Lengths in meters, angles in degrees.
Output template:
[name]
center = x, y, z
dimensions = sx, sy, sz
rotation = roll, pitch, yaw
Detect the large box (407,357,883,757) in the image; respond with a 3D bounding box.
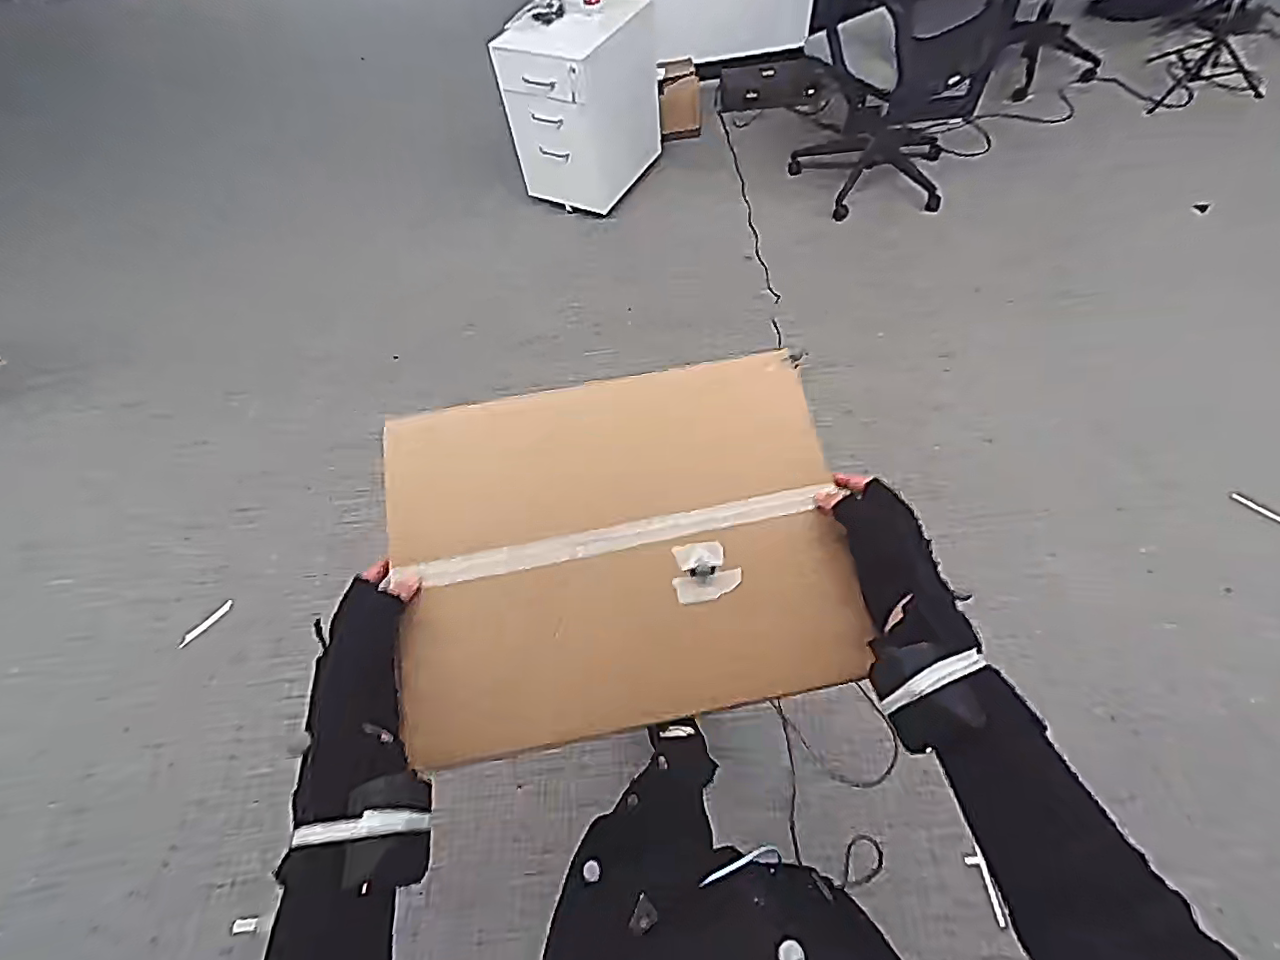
[large box]
center = -0.010, 0.098, 0.642
dimensions = 0.408, 0.320, 0.320
rotation = -10, 73, -3
